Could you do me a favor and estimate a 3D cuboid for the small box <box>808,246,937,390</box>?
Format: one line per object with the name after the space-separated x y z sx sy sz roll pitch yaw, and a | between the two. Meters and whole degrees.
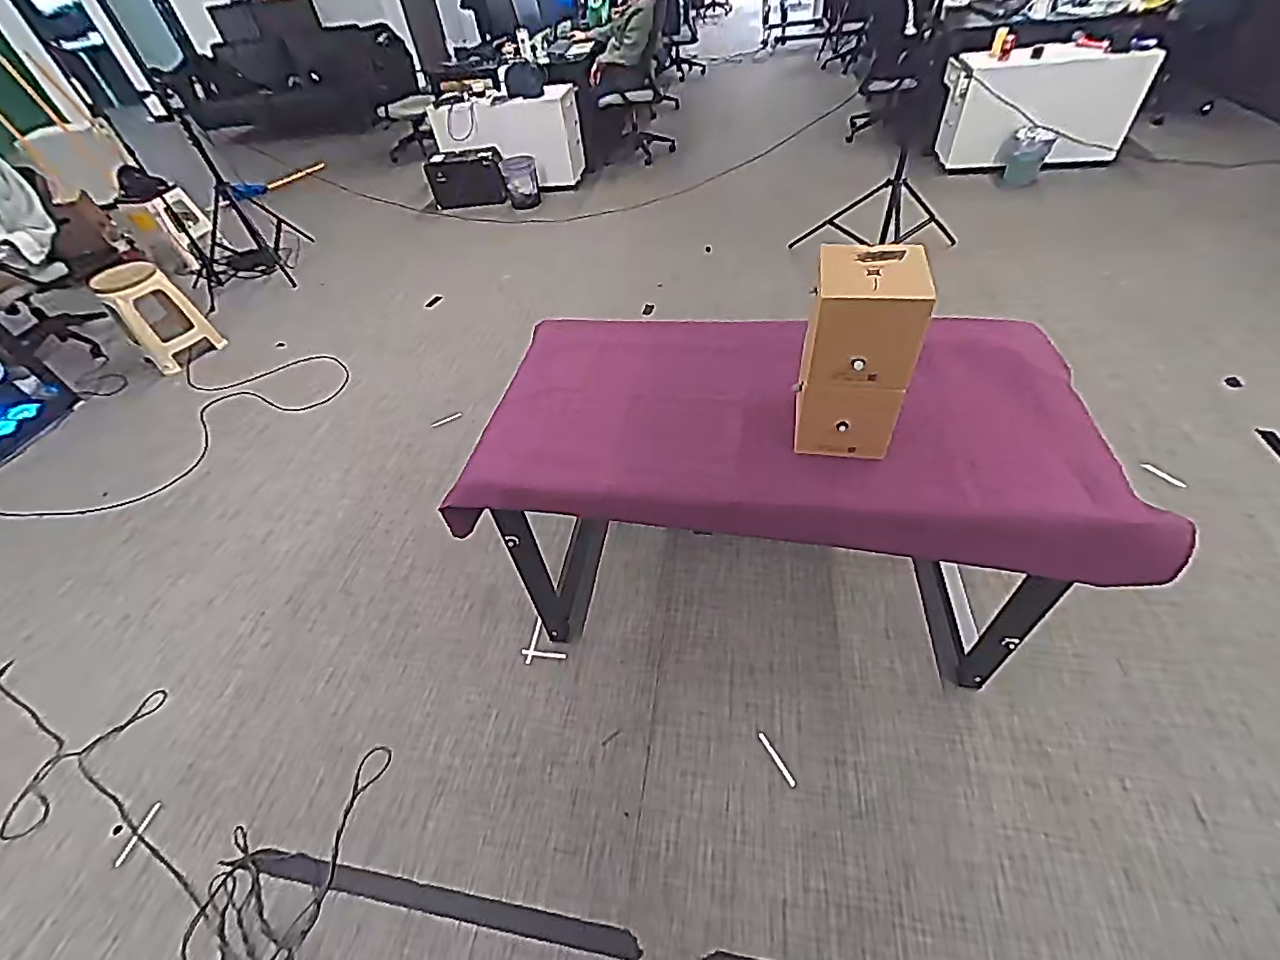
0.382 -0.276 0.919 0.168 0.176 0.179 5 49 12 | small box

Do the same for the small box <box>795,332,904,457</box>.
0.393 -0.162 1.037 0.168 0.176 0.179 6 48 12 | small box
